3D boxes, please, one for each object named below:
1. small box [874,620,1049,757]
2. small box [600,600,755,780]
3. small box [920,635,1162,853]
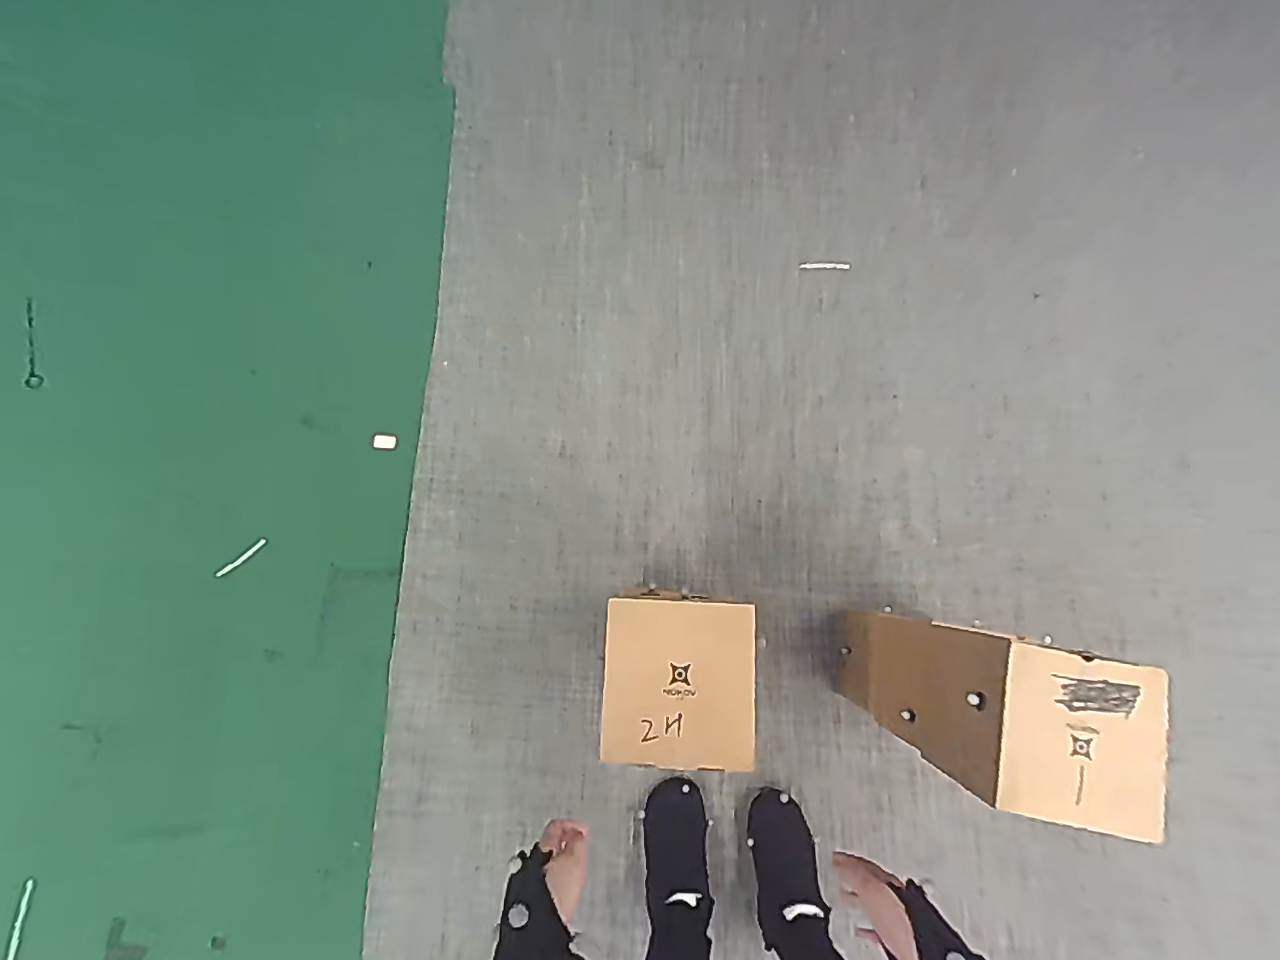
[{"bbox_3d":[0.468,0.313,0.808,0.168,0.176,0.179,9,81,4],"label":"small box"},{"bbox_3d":[0.047,0.243,0.670,0.168,0.176,0.179,2,80,4],"label":"small box"},{"bbox_3d":[0.459,0.292,0.645,0.168,0.176,0.179,11,82,4],"label":"small box"}]
